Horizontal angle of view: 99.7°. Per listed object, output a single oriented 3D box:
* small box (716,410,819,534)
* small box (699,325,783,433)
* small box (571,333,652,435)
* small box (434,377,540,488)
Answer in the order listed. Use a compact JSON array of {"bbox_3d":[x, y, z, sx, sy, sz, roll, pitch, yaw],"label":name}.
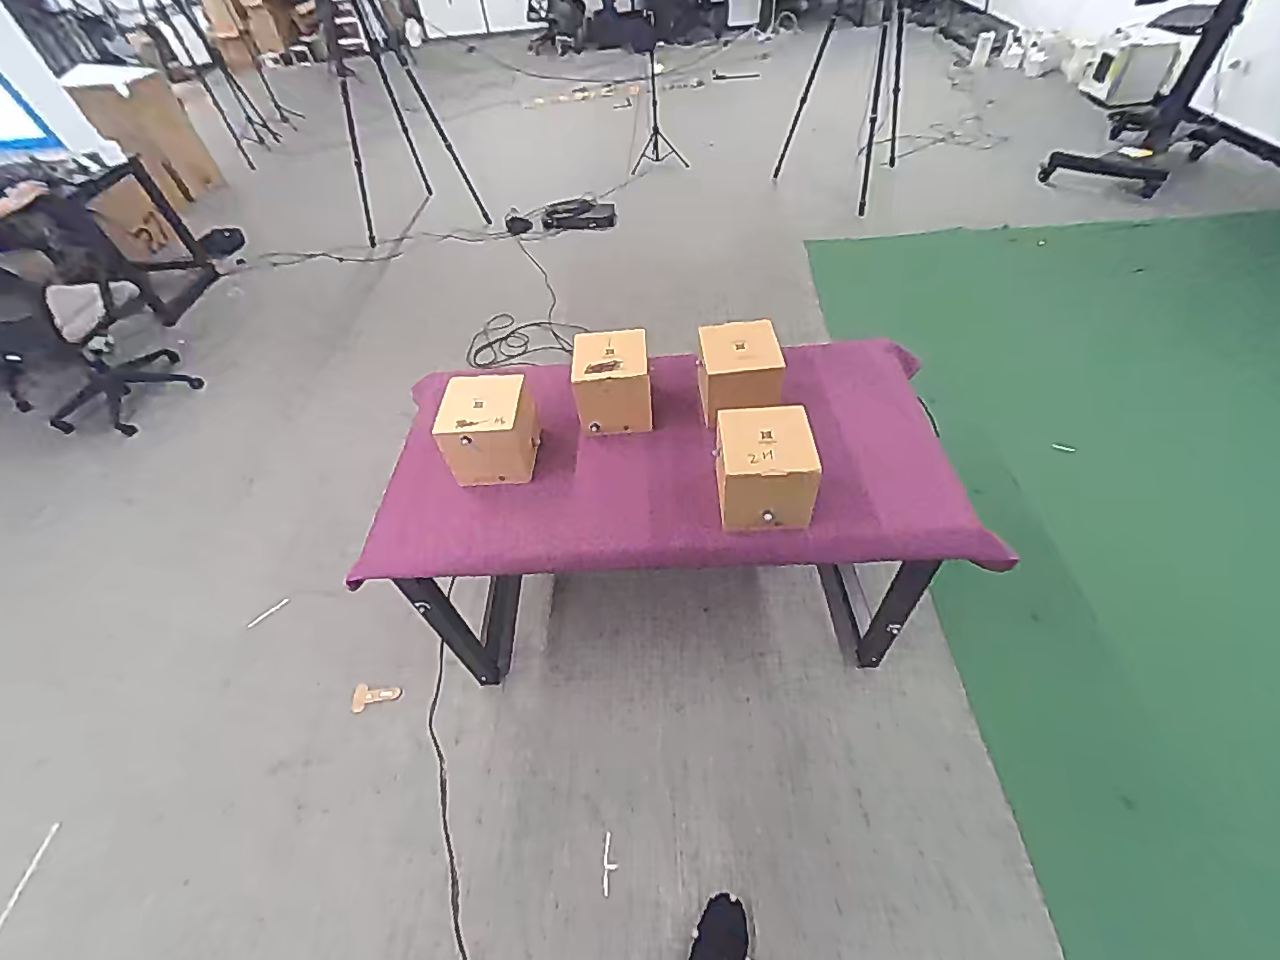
[{"bbox_3d":[0.236,-0.014,1.049,0.168,0.176,0.179,-3,47,5],"label":"small box"},{"bbox_3d":[0.224,-0.231,1.244,0.168,0.176,0.179,-5,50,3],"label":"small box"},{"bbox_3d":[-0.061,-0.217,1.260,0.168,0.176,0.179,-4,48,3],"label":"small box"},{"bbox_3d":[-0.324,-0.103,1.185,0.168,0.176,0.179,-3,48,5],"label":"small box"}]
